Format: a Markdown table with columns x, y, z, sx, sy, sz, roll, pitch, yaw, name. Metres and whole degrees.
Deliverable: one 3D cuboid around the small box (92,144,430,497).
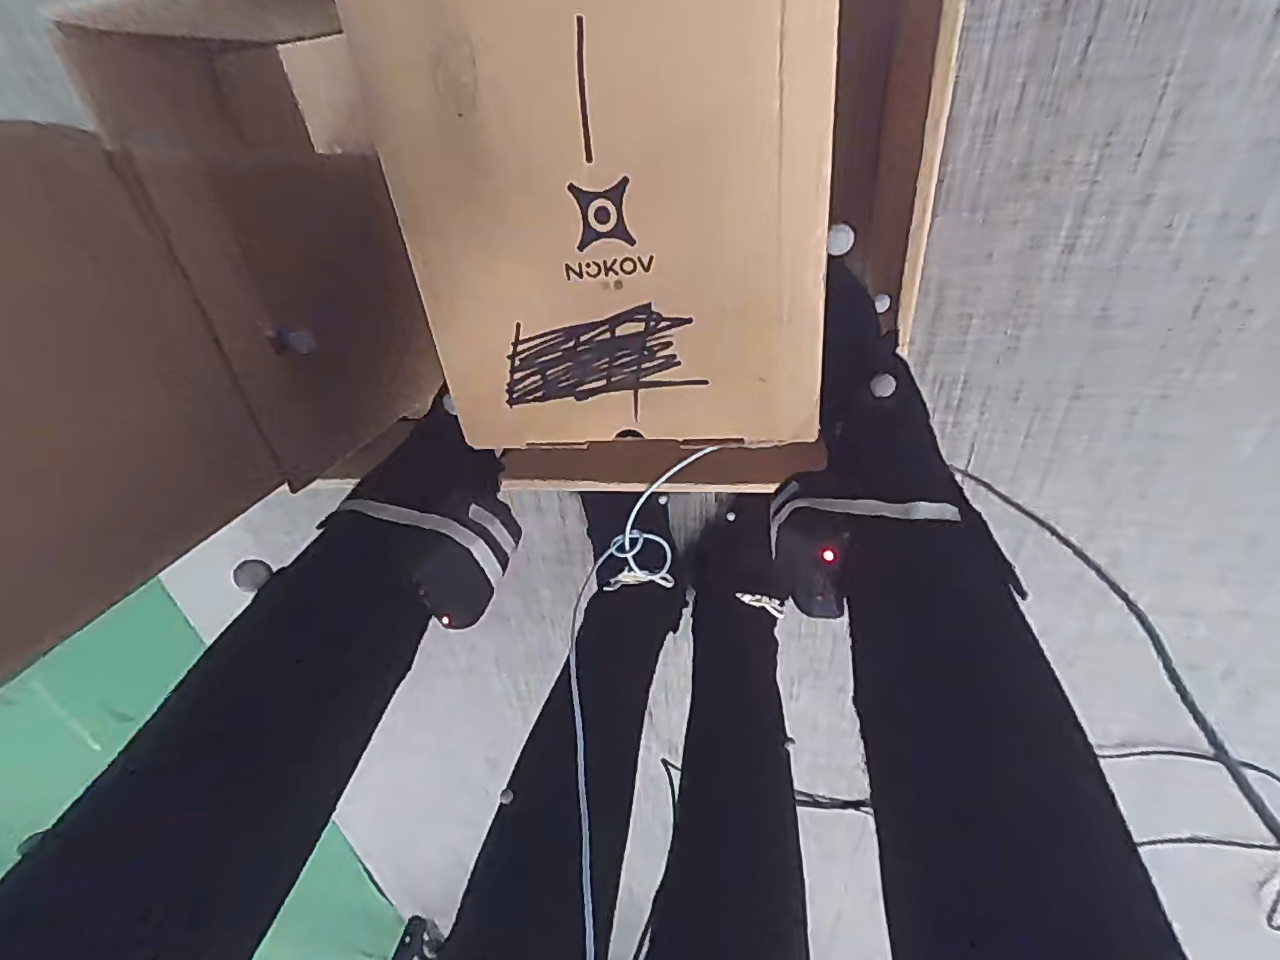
| x | y | z | sx | sy | sz | roll | pitch | yaw | name |
| --- | --- | --- | --- | --- | --- | --- | --- | --- | --- |
| -0.268 | -0.106 | 0.351 | 0.168 | 0.176 | 0.179 | 0 | 121 | 11 | small box |
